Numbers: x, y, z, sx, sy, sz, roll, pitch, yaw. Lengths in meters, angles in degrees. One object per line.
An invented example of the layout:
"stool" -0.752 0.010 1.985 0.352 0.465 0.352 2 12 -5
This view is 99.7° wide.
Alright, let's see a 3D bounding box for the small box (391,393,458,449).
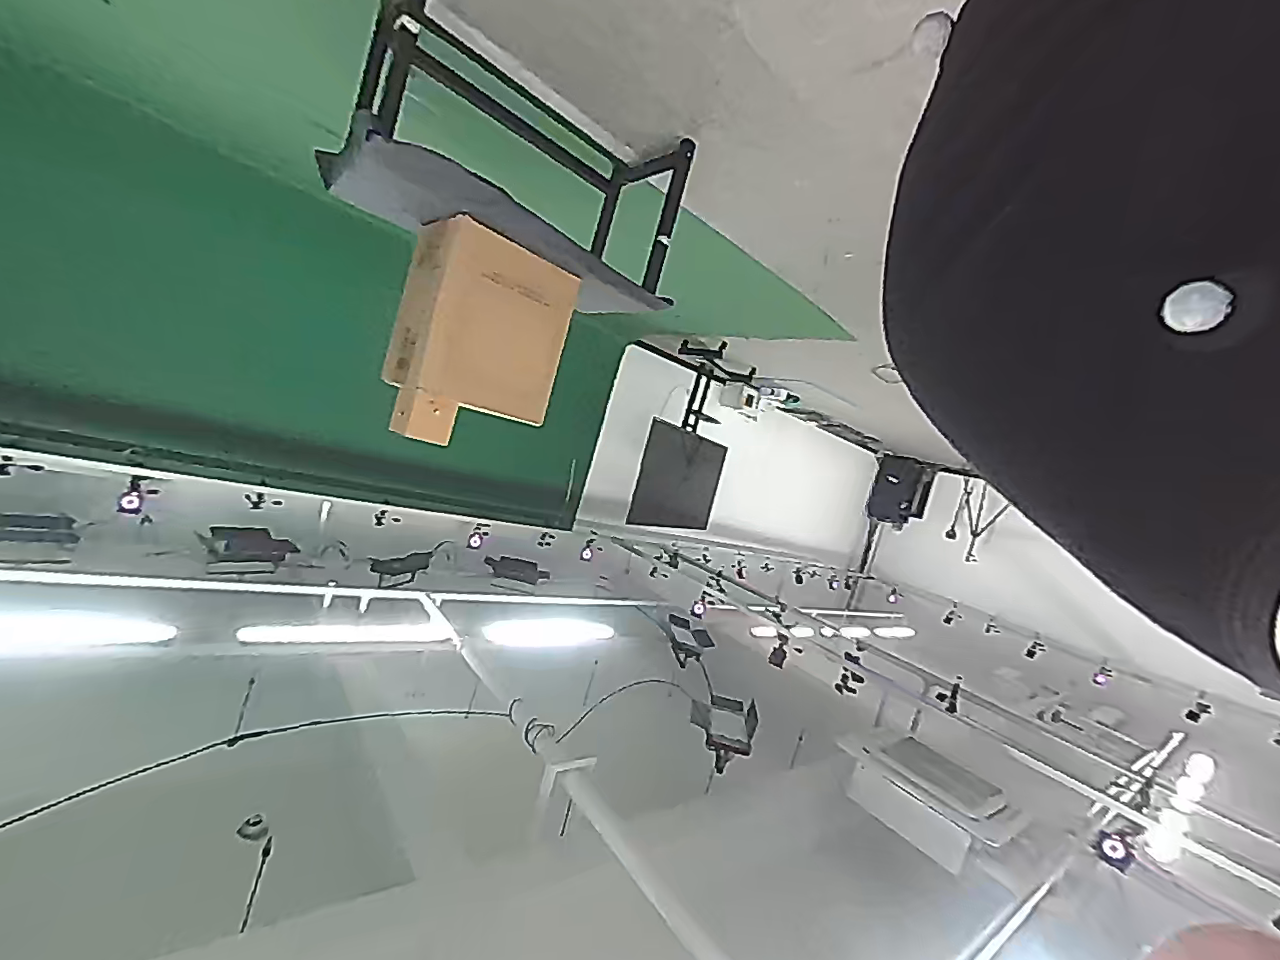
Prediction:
"small box" -0.819 -0.228 2.060 0.168 0.176 0.179 15 180 -45
